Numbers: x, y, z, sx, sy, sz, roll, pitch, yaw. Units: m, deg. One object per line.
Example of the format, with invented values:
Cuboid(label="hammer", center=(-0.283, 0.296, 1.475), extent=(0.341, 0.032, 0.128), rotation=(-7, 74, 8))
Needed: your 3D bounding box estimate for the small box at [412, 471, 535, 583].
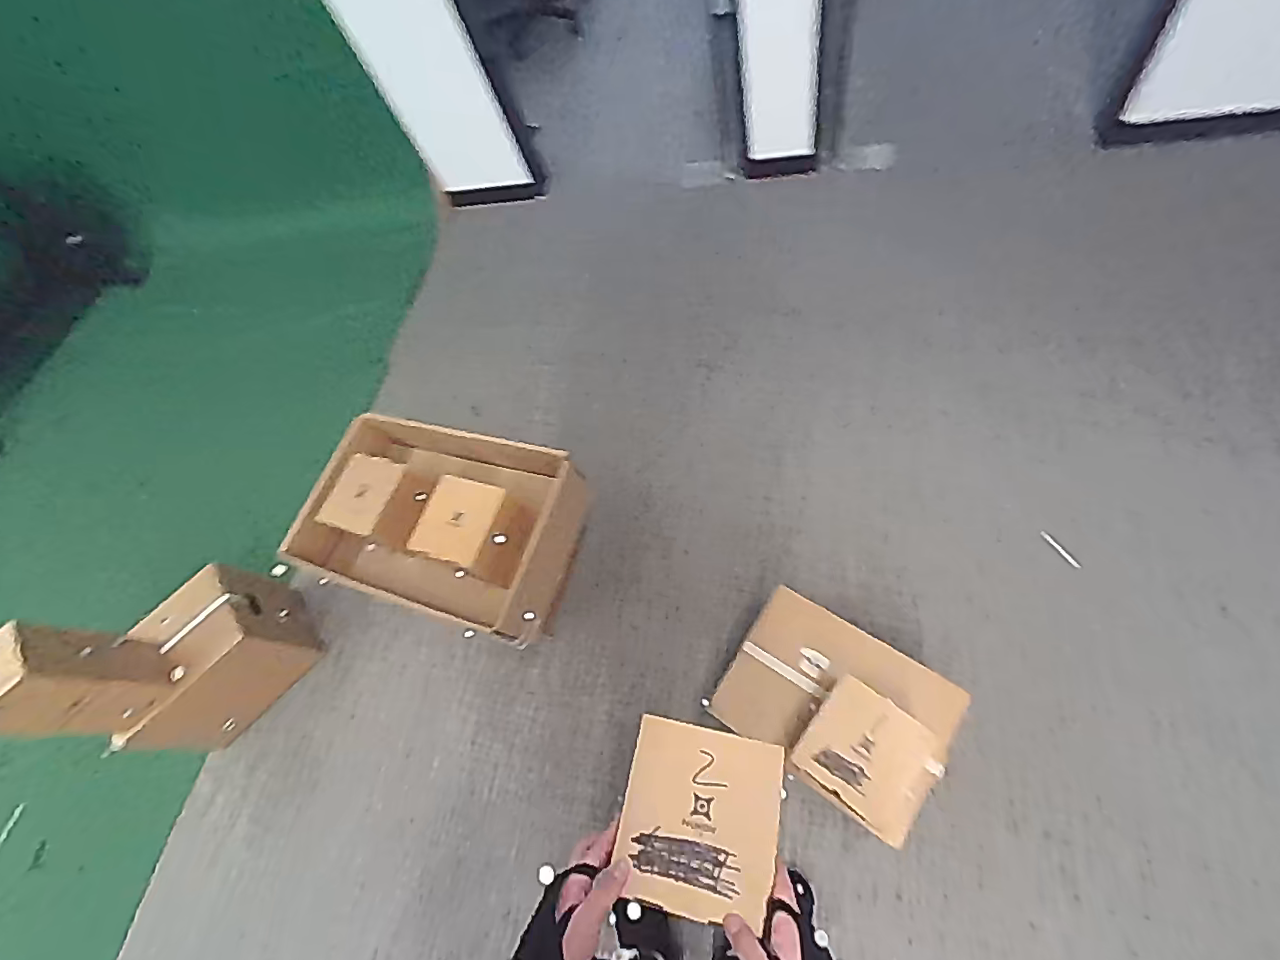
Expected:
Cuboid(label="small box", center=(-0.351, 0.107, 1.186), extent=(0.168, 0.176, 0.179), rotation=(13, 70, 20))

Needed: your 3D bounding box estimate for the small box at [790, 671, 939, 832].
Cuboid(label="small box", center=(0.380, 0.462, 0.937), extent=(0.168, 0.176, 0.179), rotation=(34, 78, 26))

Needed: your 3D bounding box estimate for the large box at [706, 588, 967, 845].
Cuboid(label="large box", center=(0.414, 0.501, 1.190), extent=(0.408, 0.320, 0.320), rotation=(29, 74, 26))

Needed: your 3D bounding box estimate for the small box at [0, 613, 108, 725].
Cuboid(label="small box", center=(-1.383, 0.437, 1.232), extent=(0.168, 0.176, 0.179), rotation=(-44, 62, -9))

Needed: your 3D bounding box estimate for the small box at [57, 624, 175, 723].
Cuboid(label="small box", center=(-1.353, 0.500, 1.380), extent=(0.168, 0.176, 0.179), rotation=(-44, 63, -8))
